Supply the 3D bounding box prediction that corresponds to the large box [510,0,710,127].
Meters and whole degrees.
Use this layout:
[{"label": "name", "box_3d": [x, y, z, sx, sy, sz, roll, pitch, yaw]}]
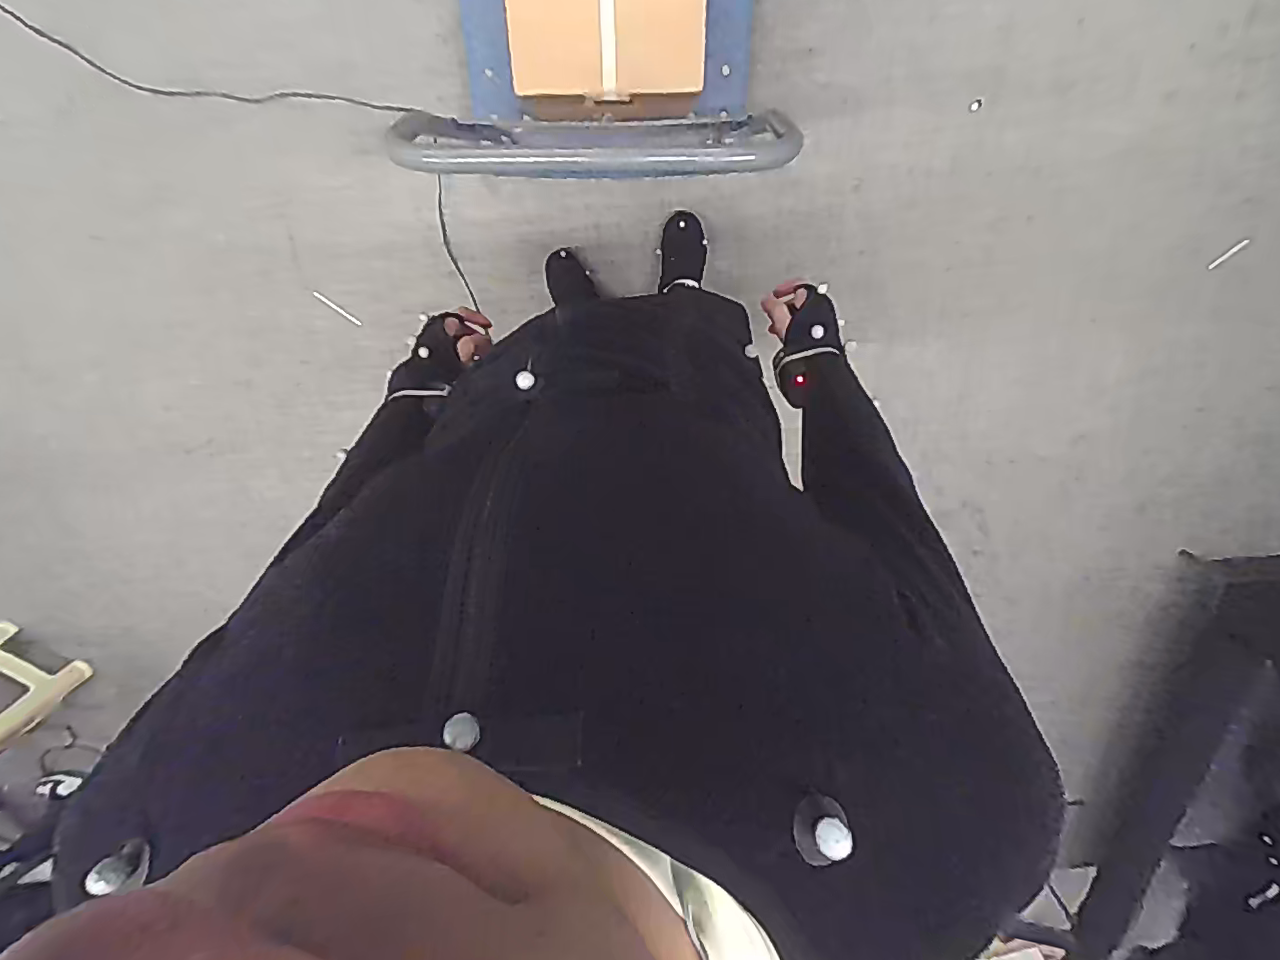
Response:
[{"label": "large box", "box_3d": [-0.046, -0.874, 0.939, 0.320, 0.320, 0.408, -1, 116, 0]}]
